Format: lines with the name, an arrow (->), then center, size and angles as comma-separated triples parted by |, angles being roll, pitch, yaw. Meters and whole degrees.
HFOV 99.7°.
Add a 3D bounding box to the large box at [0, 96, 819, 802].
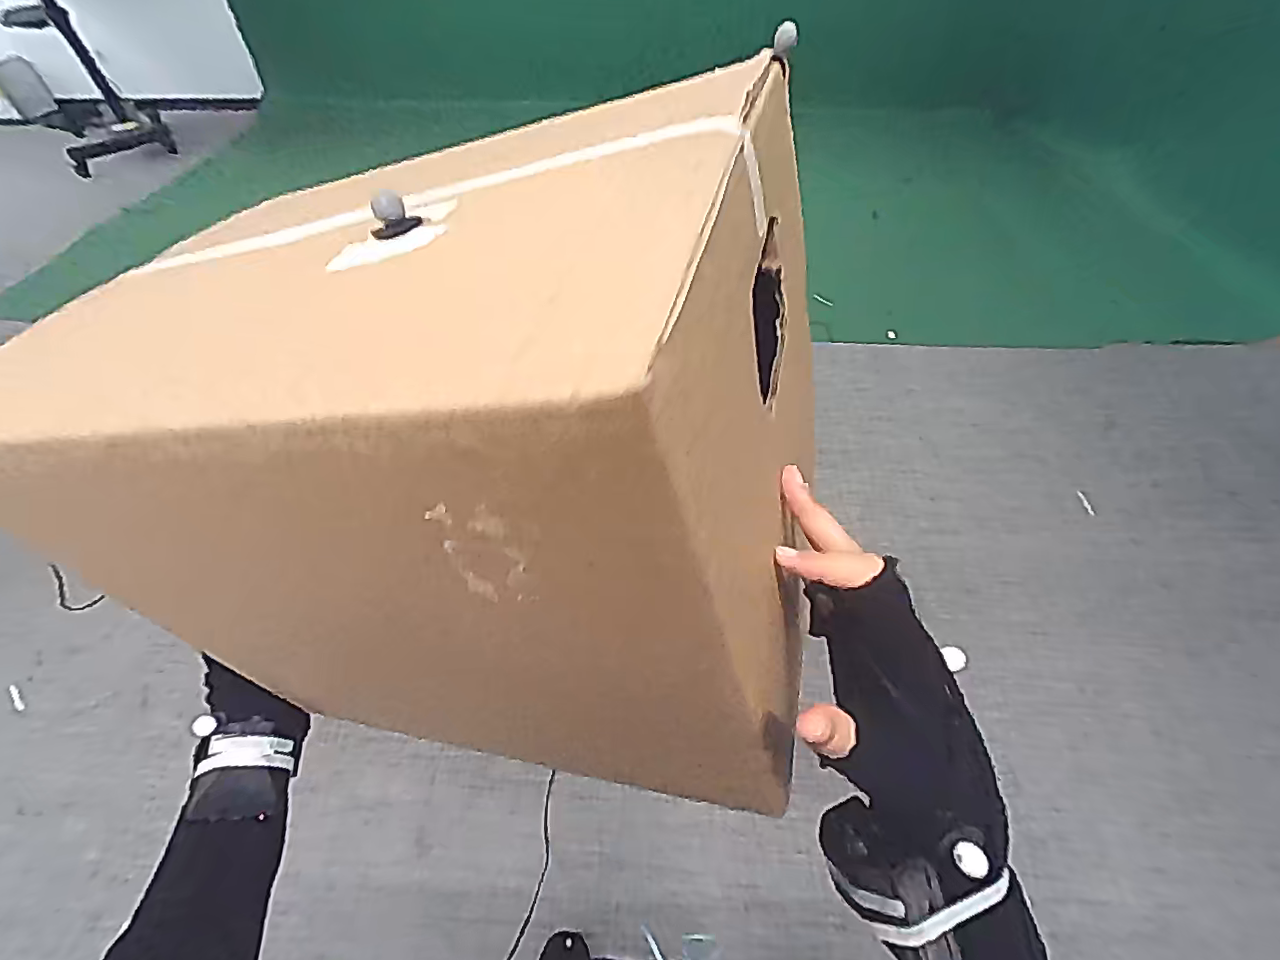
large box -> -0.090, -0.016, 0.390 | 0.408, 0.320, 0.320 | 0, 46, 21
